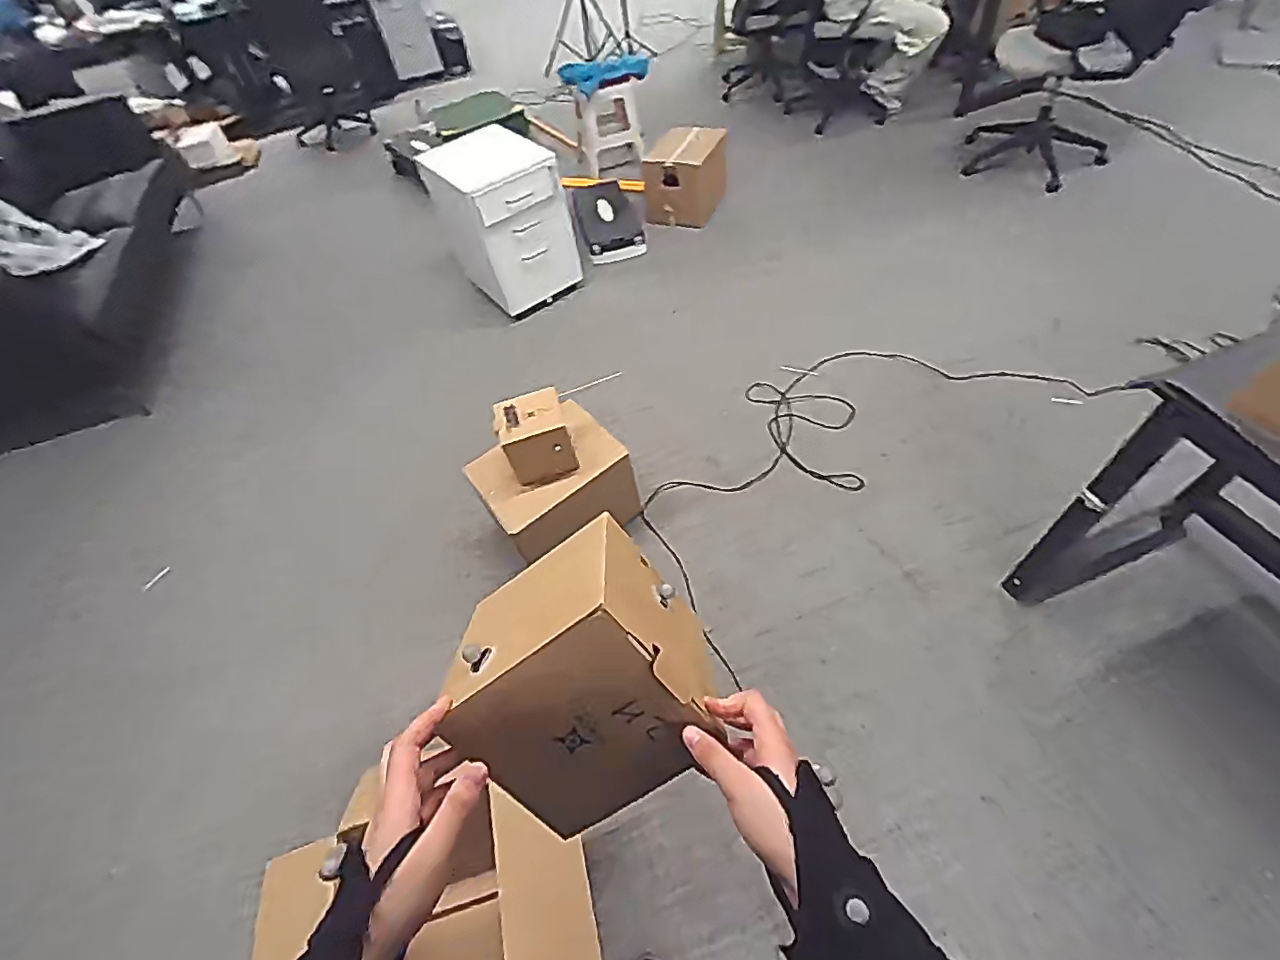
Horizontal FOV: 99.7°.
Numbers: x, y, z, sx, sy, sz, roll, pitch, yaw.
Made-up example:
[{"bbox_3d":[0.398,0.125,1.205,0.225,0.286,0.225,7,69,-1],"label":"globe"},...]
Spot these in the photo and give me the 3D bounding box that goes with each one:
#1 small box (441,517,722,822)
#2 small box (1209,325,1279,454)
[{"bbox_3d":[-0.048,0.168,0.516,0.179,0.168,0.176,-37,18,10],"label":"small box"},{"bbox_3d":[1.020,-0.151,0.793,0.179,0.176,0.168,-25,53,-10],"label":"small box"}]
